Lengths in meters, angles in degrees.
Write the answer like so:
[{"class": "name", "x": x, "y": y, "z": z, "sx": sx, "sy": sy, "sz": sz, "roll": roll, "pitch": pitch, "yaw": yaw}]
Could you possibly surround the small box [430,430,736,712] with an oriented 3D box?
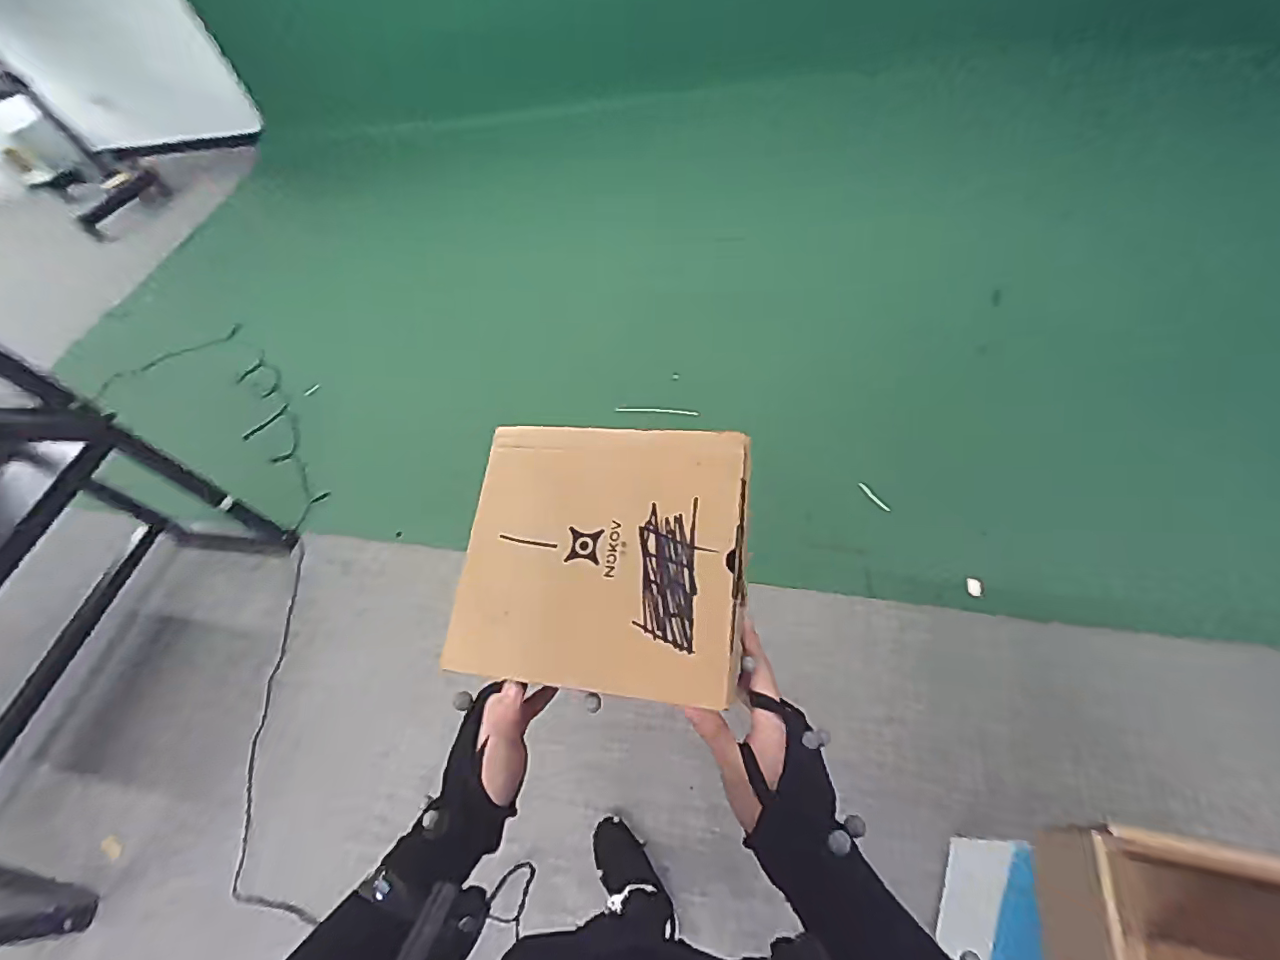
[{"class": "small box", "x": -0.020, "y": 0.074, "z": 0.411, "sx": 0.179, "sy": 0.176, "sz": 0.168, "roll": 3, "pitch": 69, "yaw": 13}]
